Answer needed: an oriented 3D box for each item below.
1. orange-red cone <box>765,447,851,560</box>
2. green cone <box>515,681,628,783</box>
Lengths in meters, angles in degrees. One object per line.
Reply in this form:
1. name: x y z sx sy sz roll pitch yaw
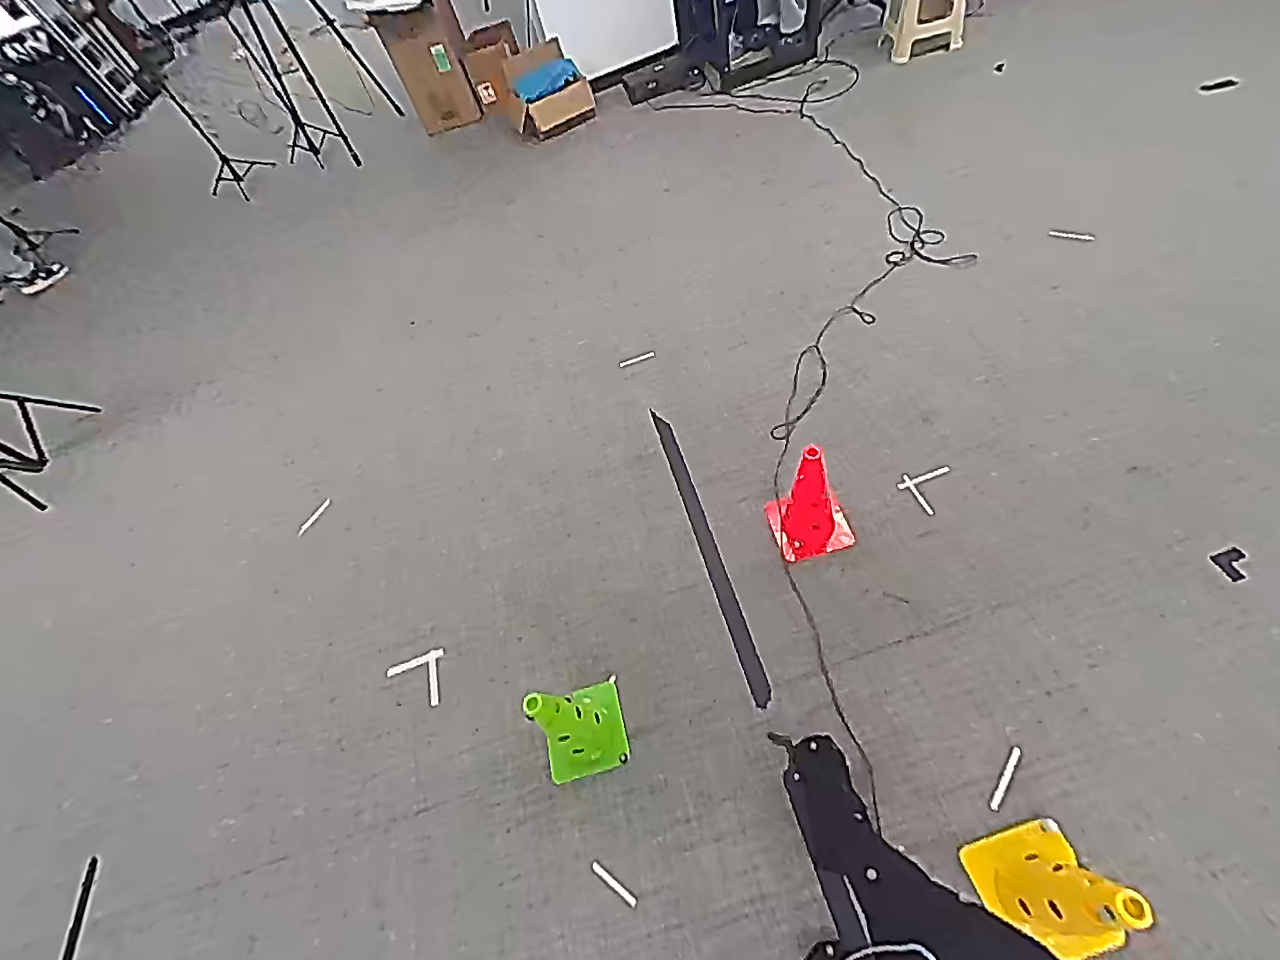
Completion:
1. orange-red cone: 0.436 0.031 1.389 0.199 0.360 0.198 -15 55 4
2. green cone: -0.181 0.532 1.214 0.202 0.368 0.200 -20 54 3
